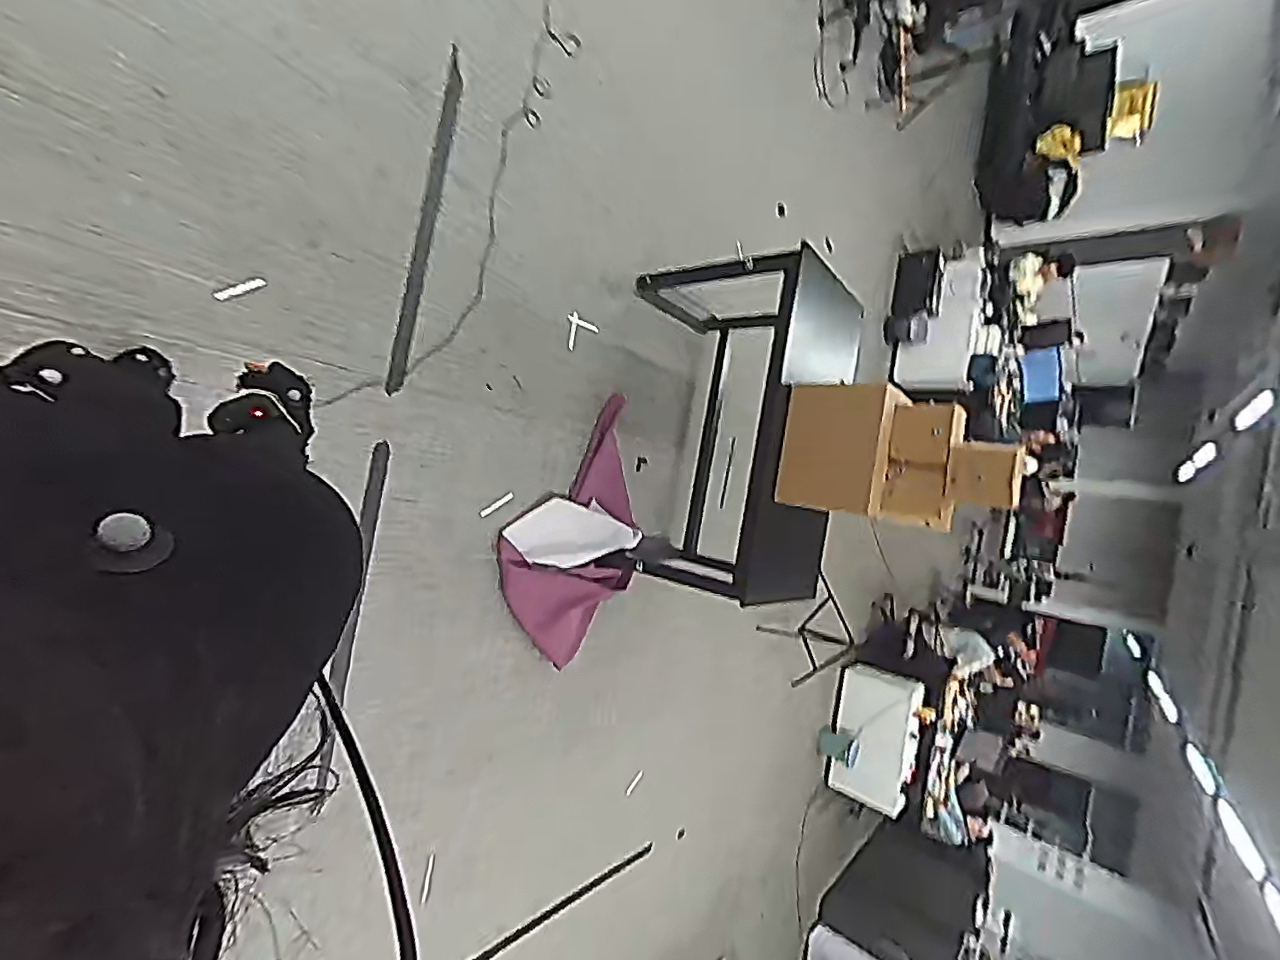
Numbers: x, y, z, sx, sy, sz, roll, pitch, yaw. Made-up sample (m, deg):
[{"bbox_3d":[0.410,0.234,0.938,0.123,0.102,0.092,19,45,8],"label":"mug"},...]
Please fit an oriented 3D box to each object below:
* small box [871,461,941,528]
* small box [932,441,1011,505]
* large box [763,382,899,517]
[{"bbox_3d":[0.846,0.044,1.711,0.179,0.176,0.168,28,75,-51],"label":"small box"},{"bbox_3d":[0.981,-0.026,1.603,0.179,0.176,0.168,-10,104,-49],"label":"small box"},{"bbox_3d":[0.645,-0.103,1.824,0.320,0.320,0.408,8,91,-50],"label":"large box"}]
